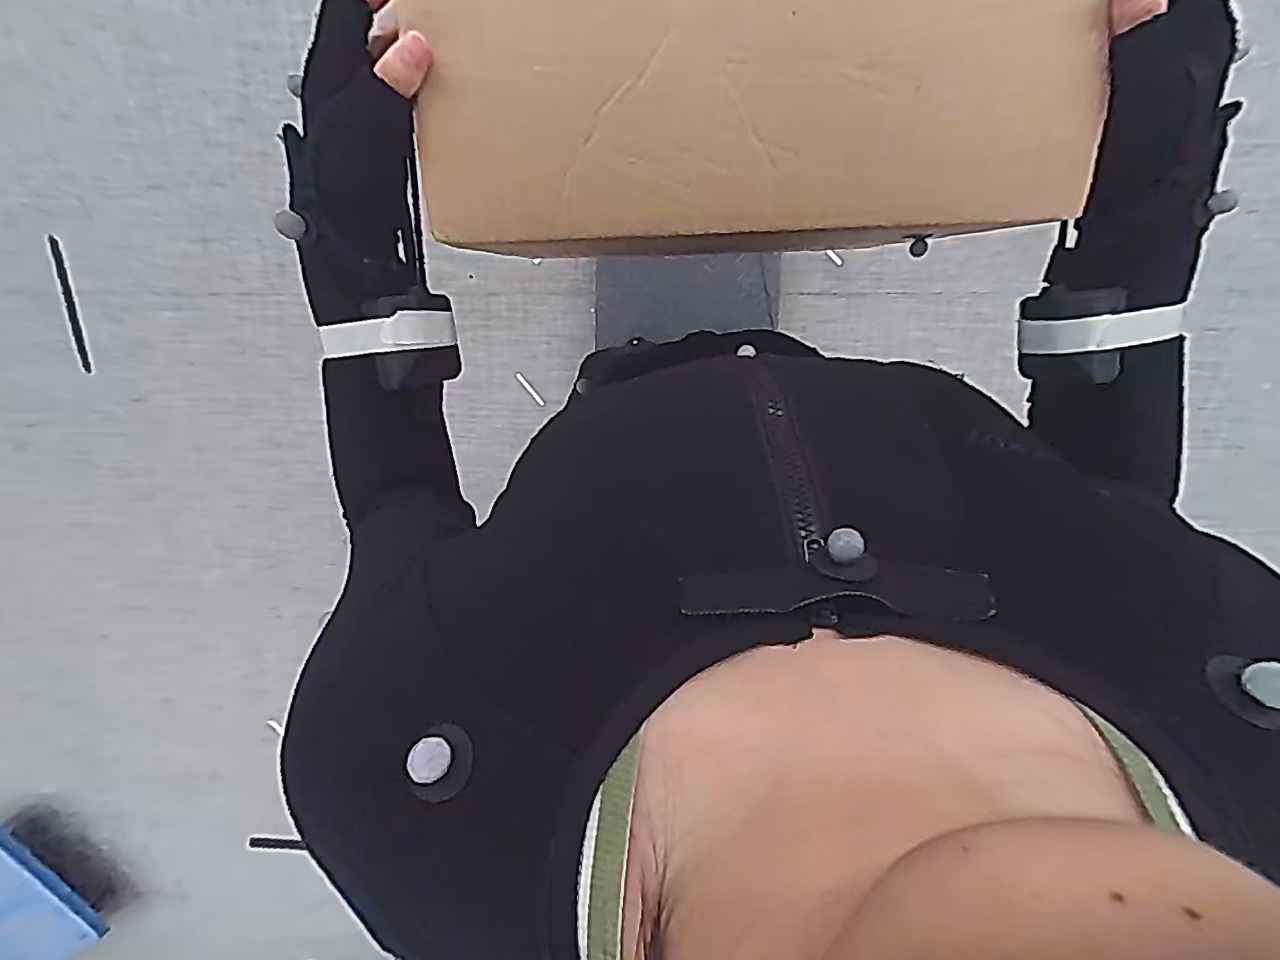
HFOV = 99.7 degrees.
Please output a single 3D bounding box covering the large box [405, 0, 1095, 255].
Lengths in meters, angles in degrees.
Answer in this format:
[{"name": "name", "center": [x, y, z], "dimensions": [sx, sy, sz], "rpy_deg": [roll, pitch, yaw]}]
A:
[{"name": "large box", "center": [0.062, -0.358, 0.435], "dimensions": [0.408, 0.320, 0.320], "rpy_deg": [-2, 110, -1]}]
